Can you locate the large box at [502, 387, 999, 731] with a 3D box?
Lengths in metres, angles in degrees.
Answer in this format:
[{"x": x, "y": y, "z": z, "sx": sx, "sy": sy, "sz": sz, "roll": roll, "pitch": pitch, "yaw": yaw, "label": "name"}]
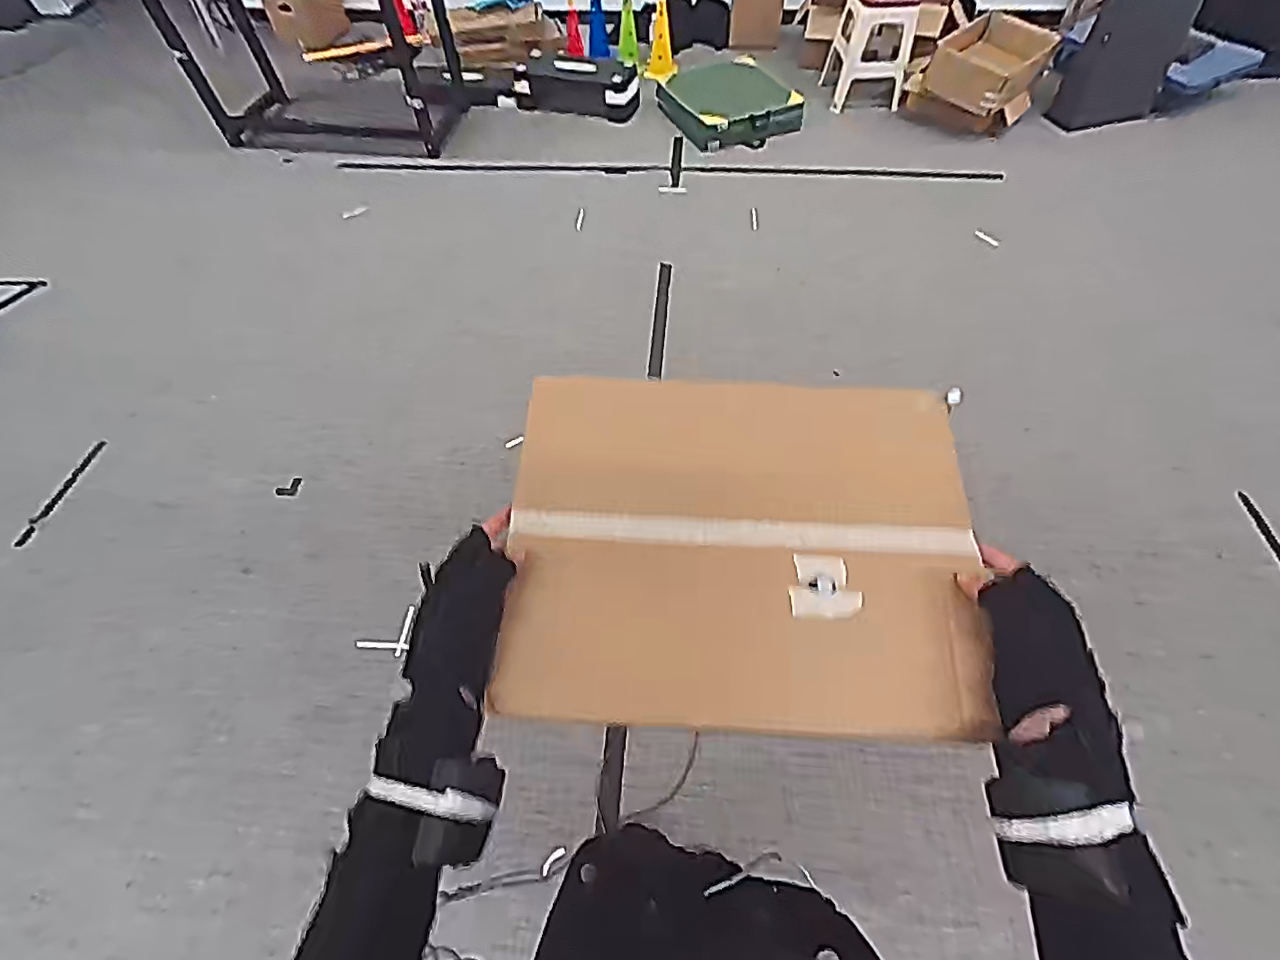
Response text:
[{"x": 0.091, "y": 0.111, "z": 0.622, "sx": 0.408, "sy": 0.320, "sz": 0.320, "roll": 3, "pitch": 66, "yaw": 1, "label": "large box"}]
